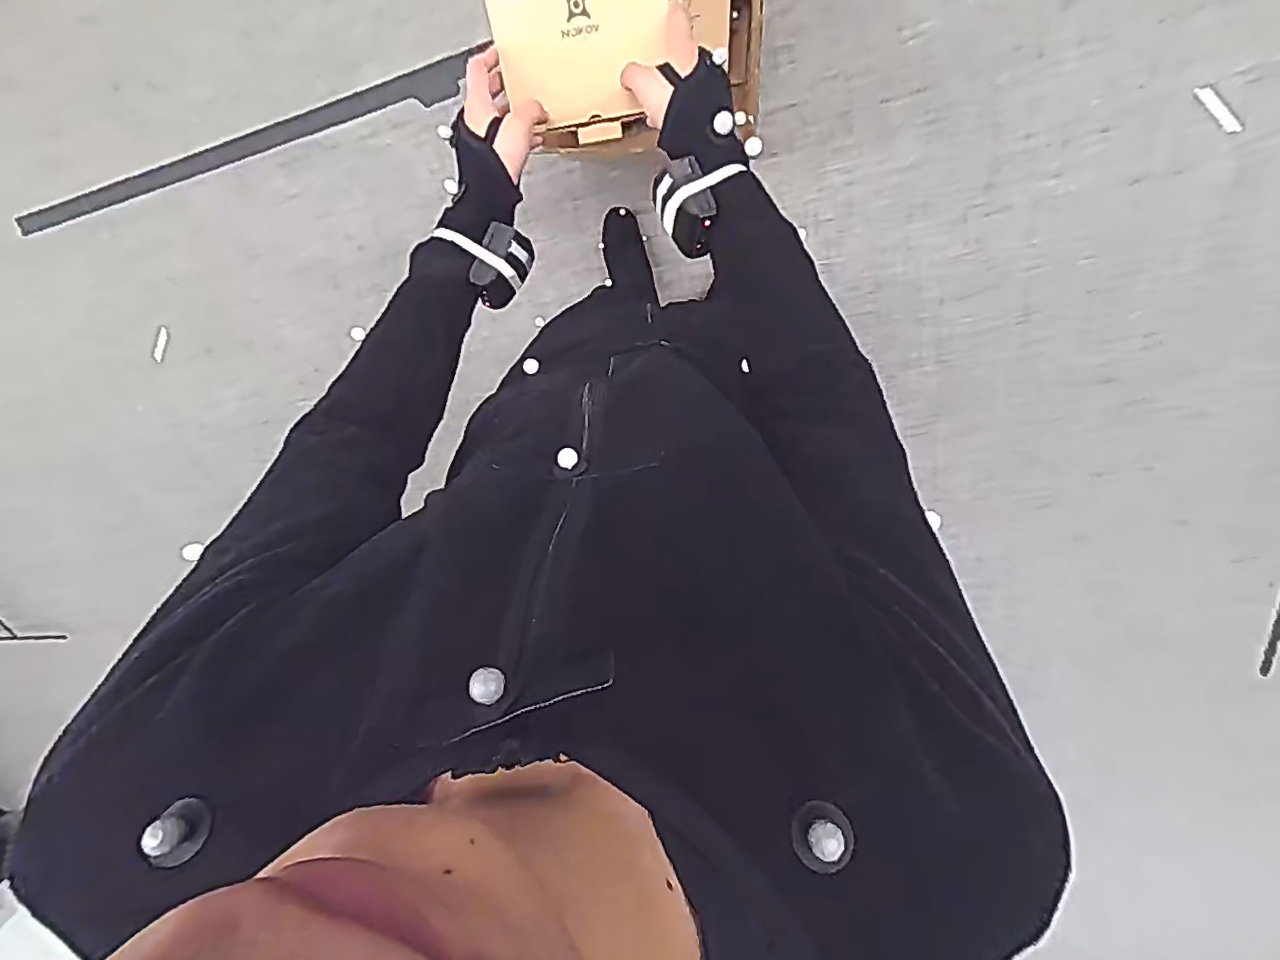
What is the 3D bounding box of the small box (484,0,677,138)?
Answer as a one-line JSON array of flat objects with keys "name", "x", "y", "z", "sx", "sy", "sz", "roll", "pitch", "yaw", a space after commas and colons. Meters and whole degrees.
[{"name": "small box", "x": -0.051, "y": -0.463, "z": 0.545, "sx": 0.168, "sy": 0.176, "sz": 0.179, "roll": -6, "pitch": 123, "yaw": 6}]
